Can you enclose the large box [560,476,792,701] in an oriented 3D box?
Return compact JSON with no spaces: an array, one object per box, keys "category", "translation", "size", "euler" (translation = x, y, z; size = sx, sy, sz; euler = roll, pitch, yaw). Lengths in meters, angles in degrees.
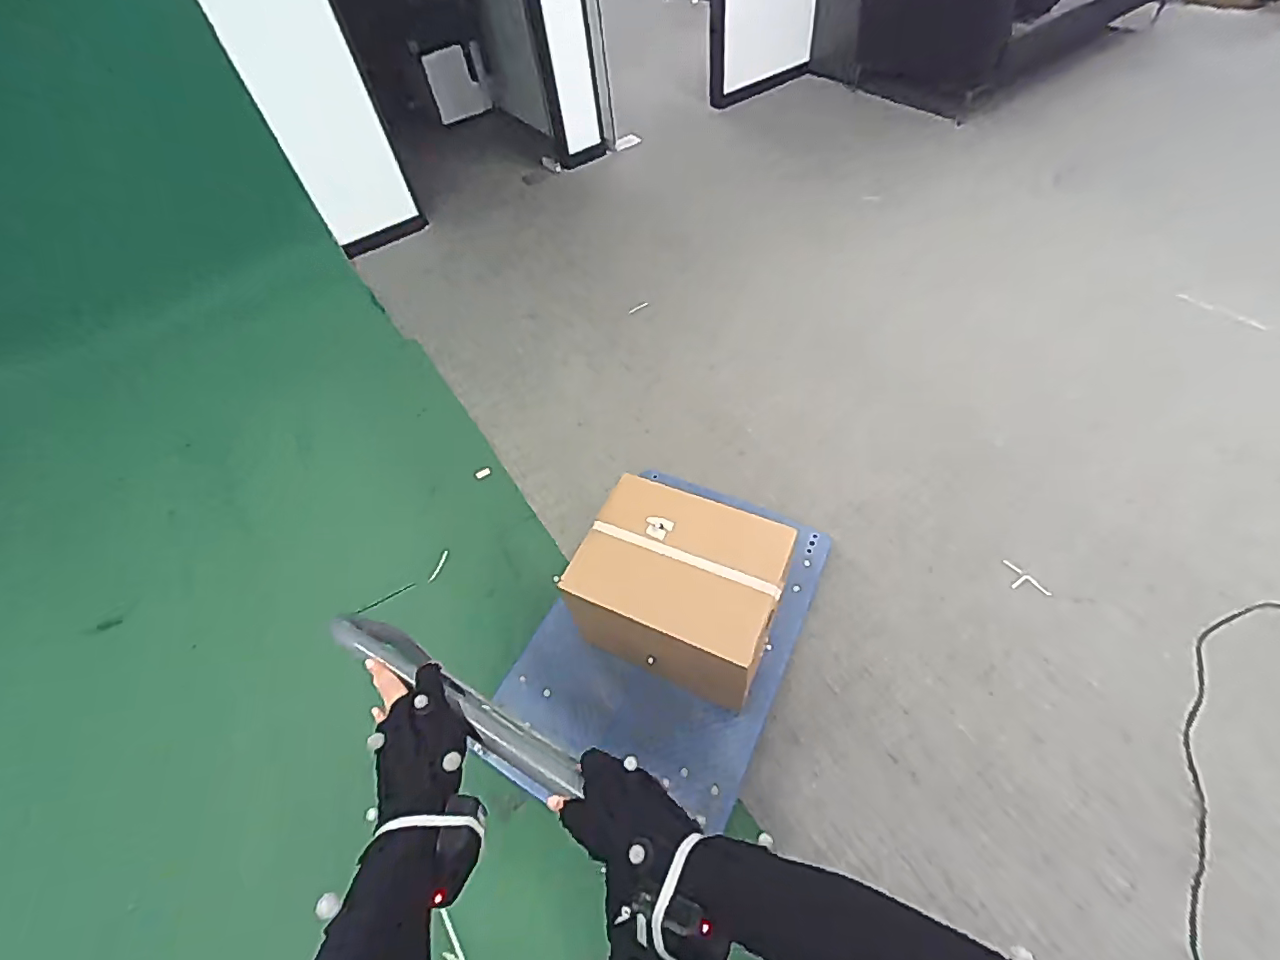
[{"category":"large box","translation":[0.096,0.245,1.227],"size":[0.408,0.320,0.320],"euler":[17,57,20]}]
